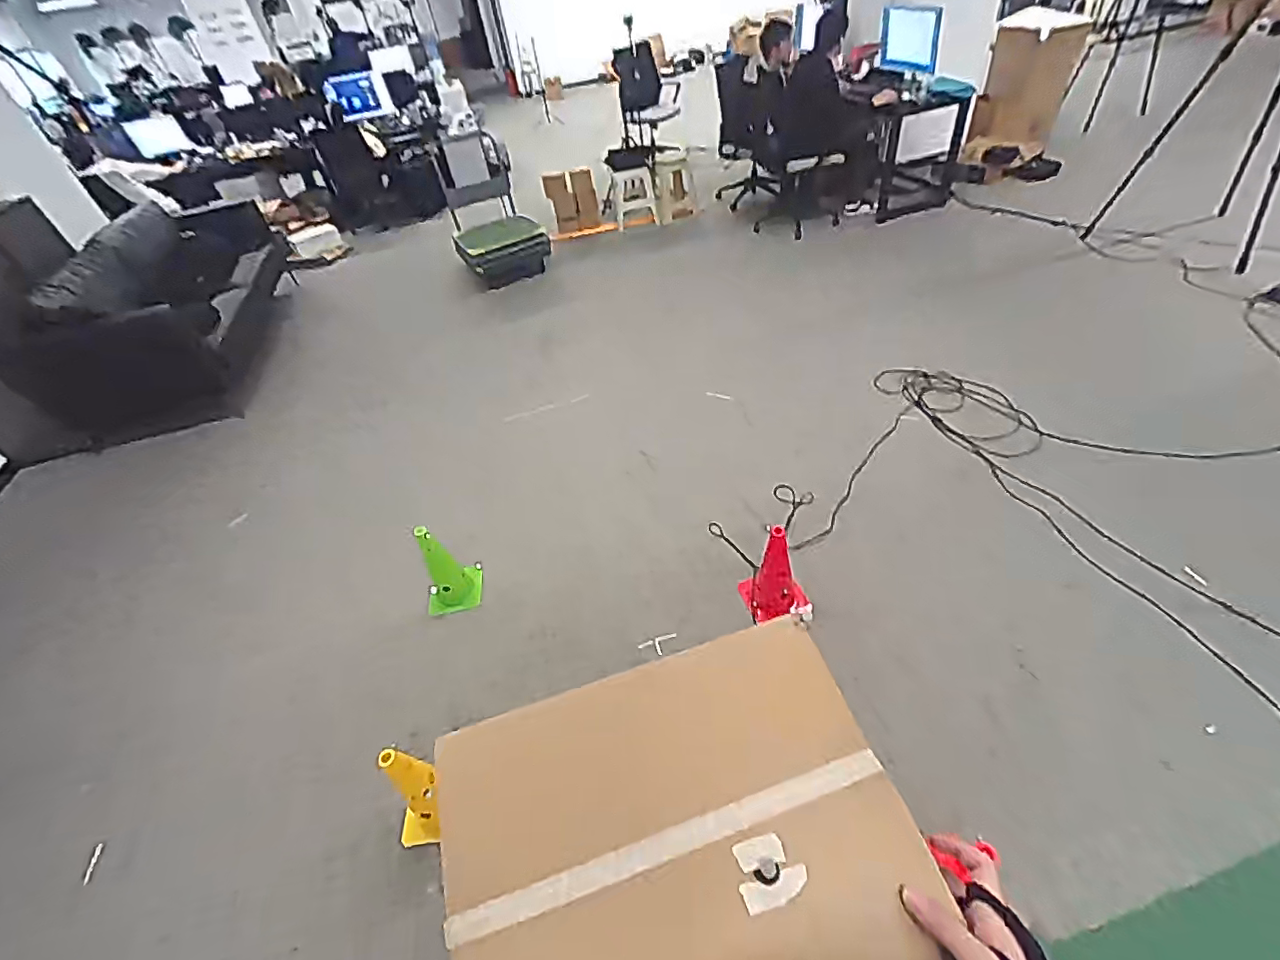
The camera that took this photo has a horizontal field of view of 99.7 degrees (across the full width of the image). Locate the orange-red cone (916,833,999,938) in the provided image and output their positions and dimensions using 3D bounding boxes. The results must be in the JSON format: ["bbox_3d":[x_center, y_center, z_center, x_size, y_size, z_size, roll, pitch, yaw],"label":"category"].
[{"bbox_3d":[0.679,0.831,1.146,0.199,0.360,0.198,-10,44,-2],"label":"orange-red cone"}]

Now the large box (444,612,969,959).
[{"bbox_3d":[0.042,0.409,0.611,0.408,0.320,0.320,-17,55,-8],"label":"large box"}]

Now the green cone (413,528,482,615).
[{"bbox_3d":[-0.737,0.301,1.974,0.200,0.368,0.202,-13,45,-2],"label":"green cone"}]
